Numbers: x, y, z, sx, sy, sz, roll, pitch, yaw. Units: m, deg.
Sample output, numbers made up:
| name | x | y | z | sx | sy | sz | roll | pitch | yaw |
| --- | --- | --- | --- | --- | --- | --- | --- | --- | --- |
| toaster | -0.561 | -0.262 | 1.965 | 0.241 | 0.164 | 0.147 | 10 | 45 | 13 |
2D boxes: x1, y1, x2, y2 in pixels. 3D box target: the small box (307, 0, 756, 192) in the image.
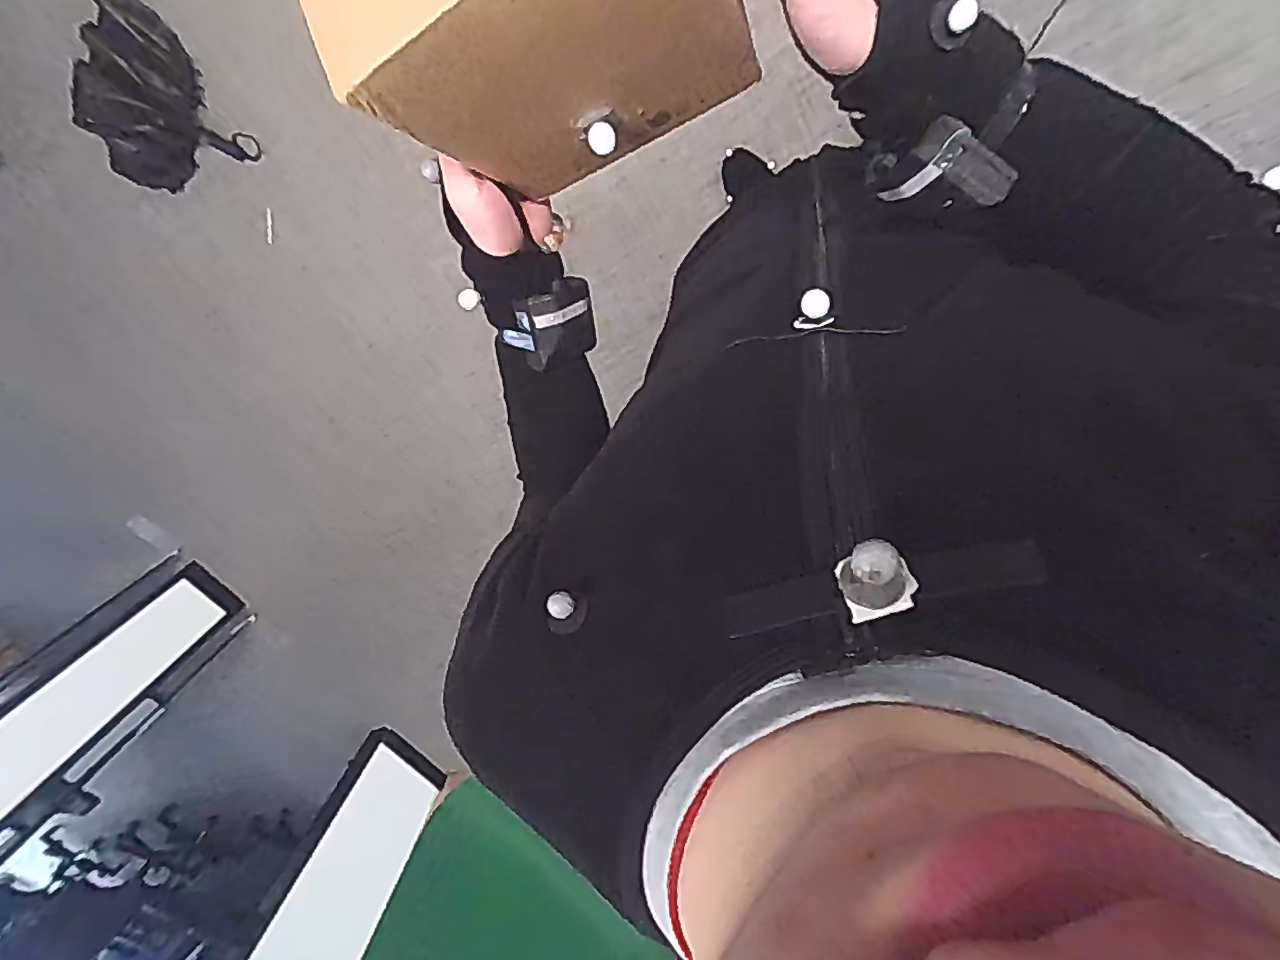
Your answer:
| name | x | y | z | sx | sy | sz | roll | pitch | yaw |
| --- | --- | --- | --- | --- | --- | --- | --- | --- | --- |
| small box | -0.052 | -0.283 | 0.270 | 0.168 | 0.176 | 0.179 | -14 | 96 | 24 |
